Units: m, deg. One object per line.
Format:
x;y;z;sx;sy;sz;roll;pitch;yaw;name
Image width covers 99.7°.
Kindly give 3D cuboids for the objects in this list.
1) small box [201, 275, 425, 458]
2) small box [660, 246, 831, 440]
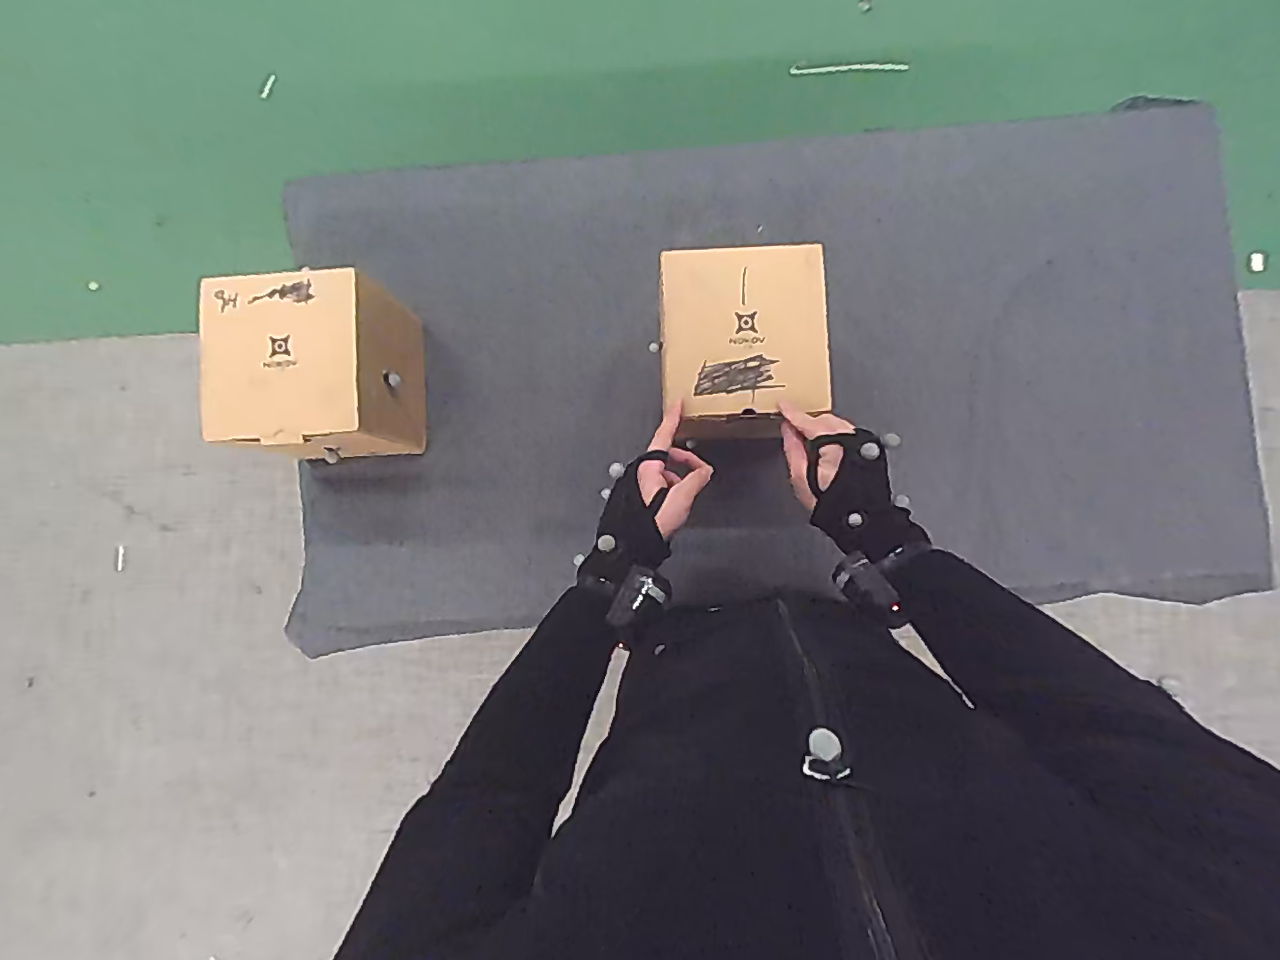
-0.365;-0.118;0.633;0.168;0.176;0.179;-4;87;0;small box
0.109;-0.141;0.618;0.168;0.176;0.179;-2;86;2;small box
